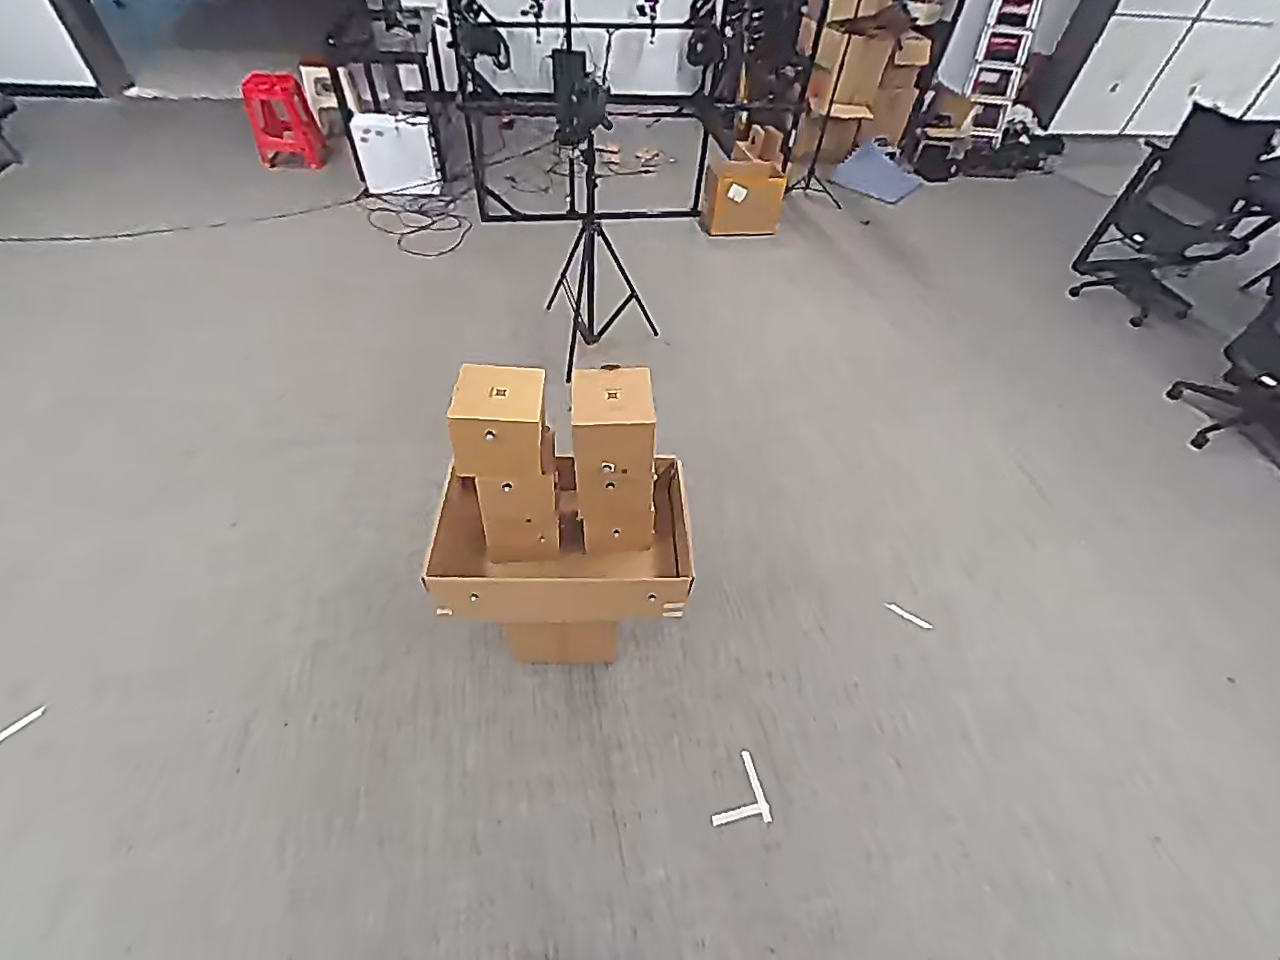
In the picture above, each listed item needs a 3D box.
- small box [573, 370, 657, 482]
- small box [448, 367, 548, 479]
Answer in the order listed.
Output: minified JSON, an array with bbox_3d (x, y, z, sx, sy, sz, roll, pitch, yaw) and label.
[{"bbox_3d":[-0.056,-0.115,1.150,0.168,0.176,0.179,-2,49,-4],"label":"small box"},{"bbox_3d":[-0.285,-0.115,1.131,0.179,0.176,0.168,2,48,-6],"label":"small box"}]
